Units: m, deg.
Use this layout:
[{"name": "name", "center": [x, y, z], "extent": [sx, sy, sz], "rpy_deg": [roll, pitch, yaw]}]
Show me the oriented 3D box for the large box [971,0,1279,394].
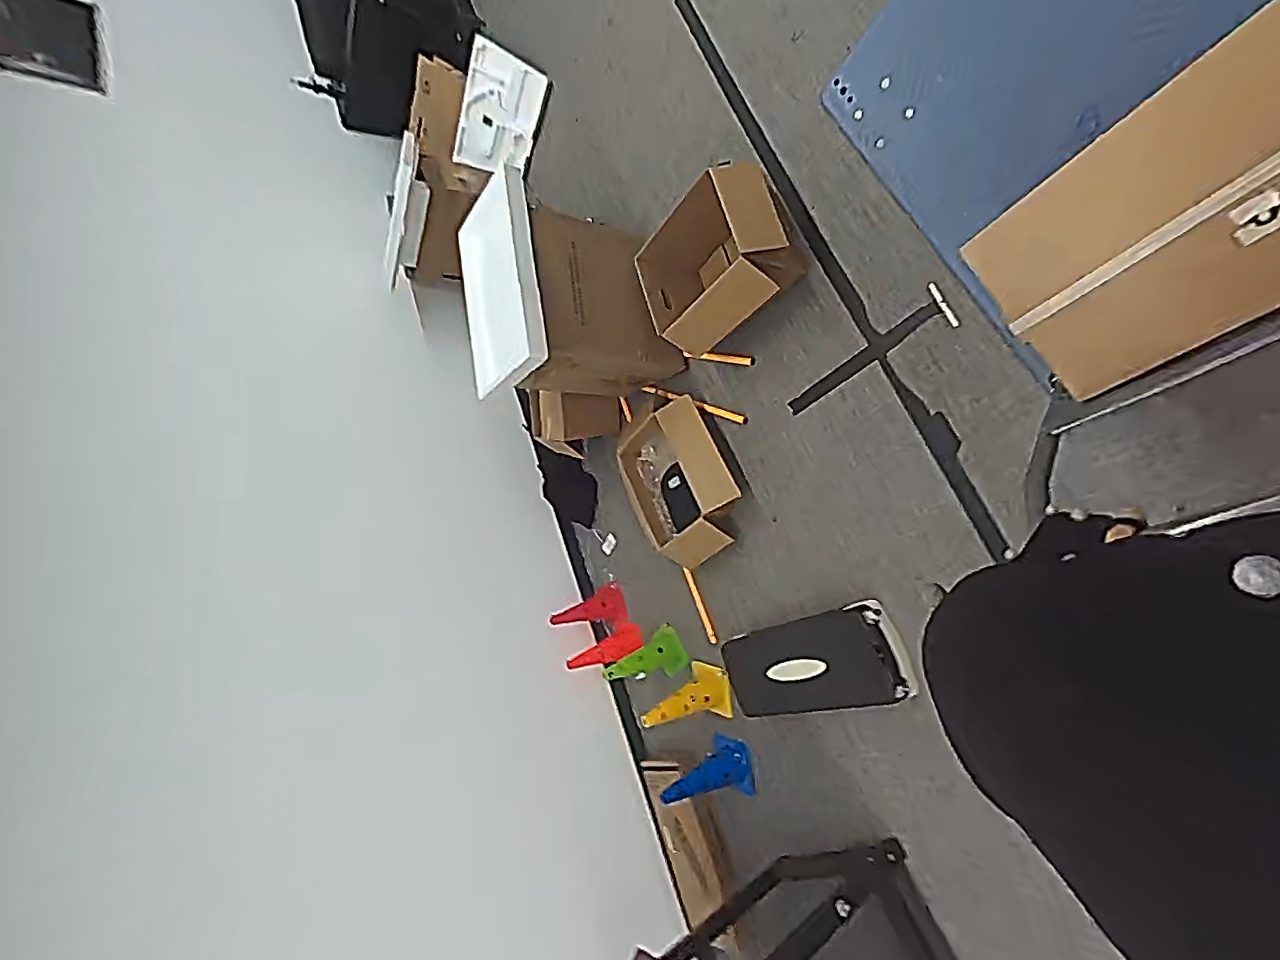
[{"name": "large box", "center": [0.813, -0.397, 0.813], "extent": [0.320, 0.320, 0.408], "rpy_deg": [55, 138, 6]}]
